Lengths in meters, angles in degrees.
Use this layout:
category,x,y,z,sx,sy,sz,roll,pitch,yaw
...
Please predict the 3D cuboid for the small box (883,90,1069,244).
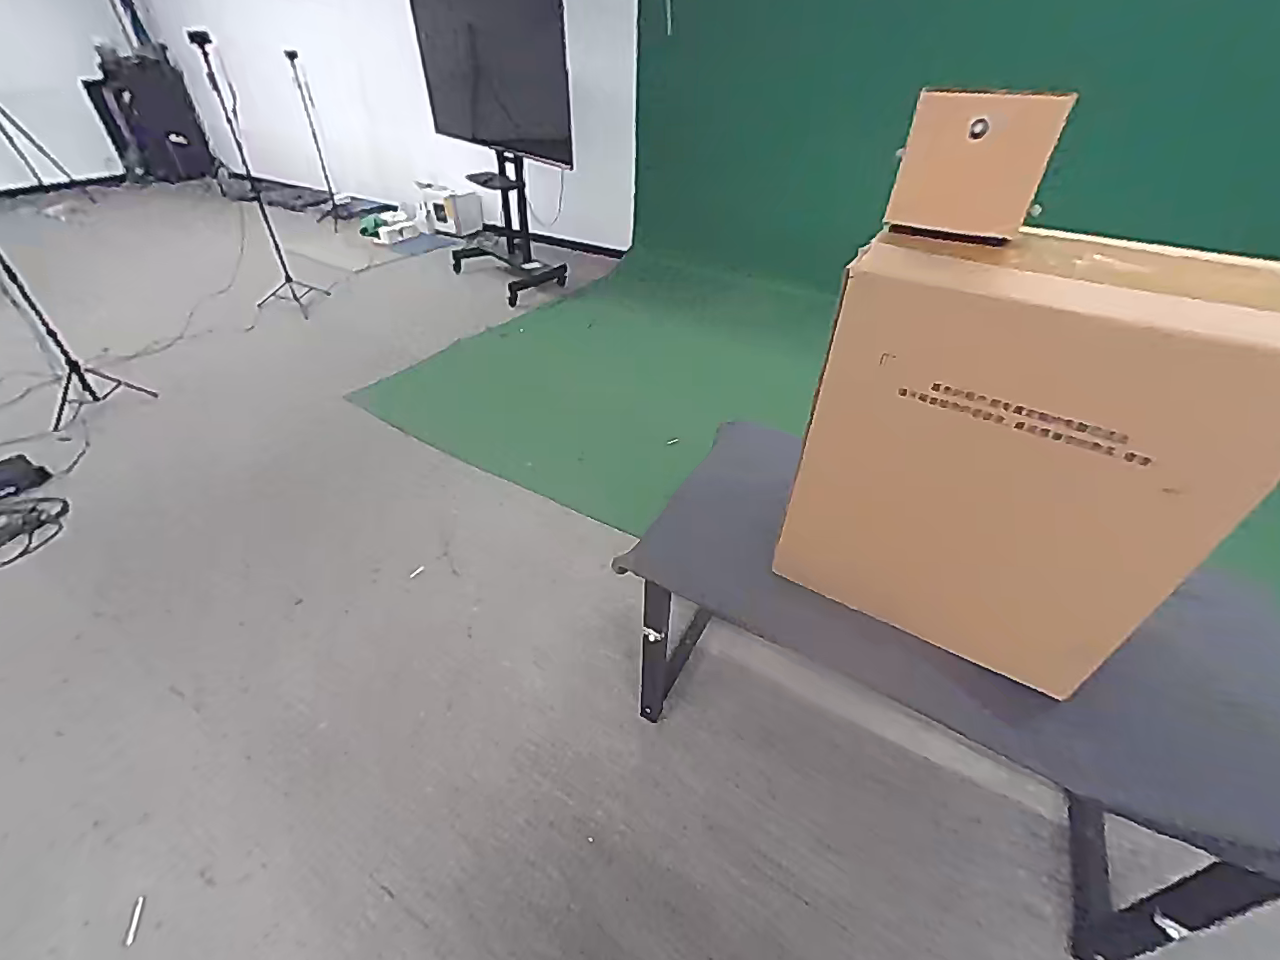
category,x,y,z,sx,sy,sz,roll,pitch,yaw
small box,0.477,-0.451,0.790,0.179,0.176,0.168,22,36,21
